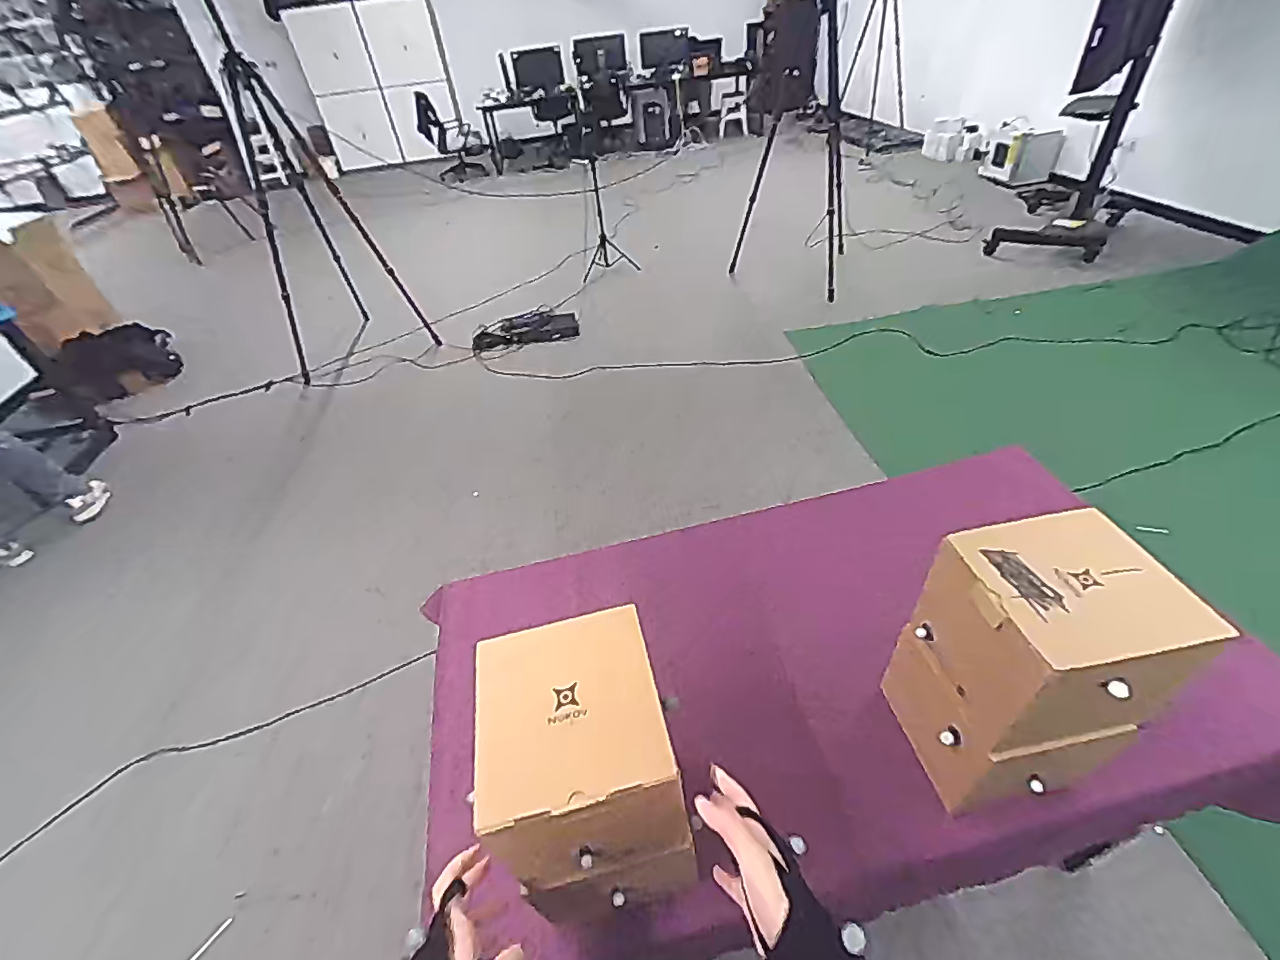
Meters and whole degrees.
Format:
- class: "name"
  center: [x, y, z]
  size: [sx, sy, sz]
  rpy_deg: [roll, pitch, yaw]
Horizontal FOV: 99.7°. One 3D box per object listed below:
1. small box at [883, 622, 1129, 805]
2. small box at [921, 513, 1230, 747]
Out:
- class: "small box"
  center: [0.440, 0.288, 0.687]
  size: [0.168, 0.176, 0.179]
  rpy_deg: [-10, 41, -4]
- class: "small box"
  center: [0.431, 0.162, 0.581]
  size: [0.179, 0.176, 0.168]
  rpy_deg: [-9, 42, -3]
